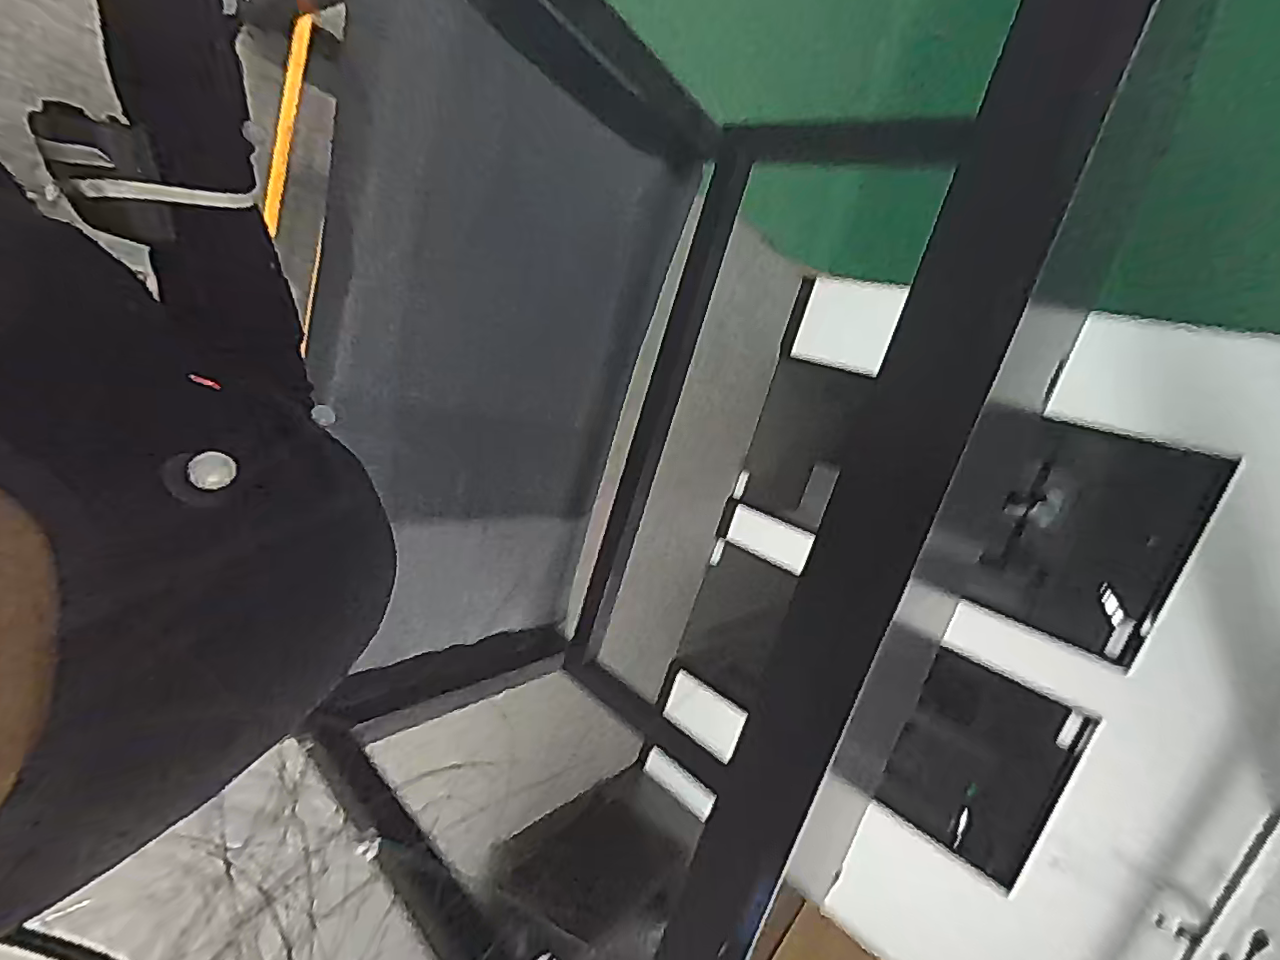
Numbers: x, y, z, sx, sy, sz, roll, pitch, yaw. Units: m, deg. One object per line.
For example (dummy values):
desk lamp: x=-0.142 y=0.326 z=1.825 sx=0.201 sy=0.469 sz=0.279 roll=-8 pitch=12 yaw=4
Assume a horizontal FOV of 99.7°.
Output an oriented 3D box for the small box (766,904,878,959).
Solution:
small box: x=0.170 y=0.546 z=0.488 sx=0.179 sy=0.176 sz=0.168 roll=15 pitch=97 yaw=-56
